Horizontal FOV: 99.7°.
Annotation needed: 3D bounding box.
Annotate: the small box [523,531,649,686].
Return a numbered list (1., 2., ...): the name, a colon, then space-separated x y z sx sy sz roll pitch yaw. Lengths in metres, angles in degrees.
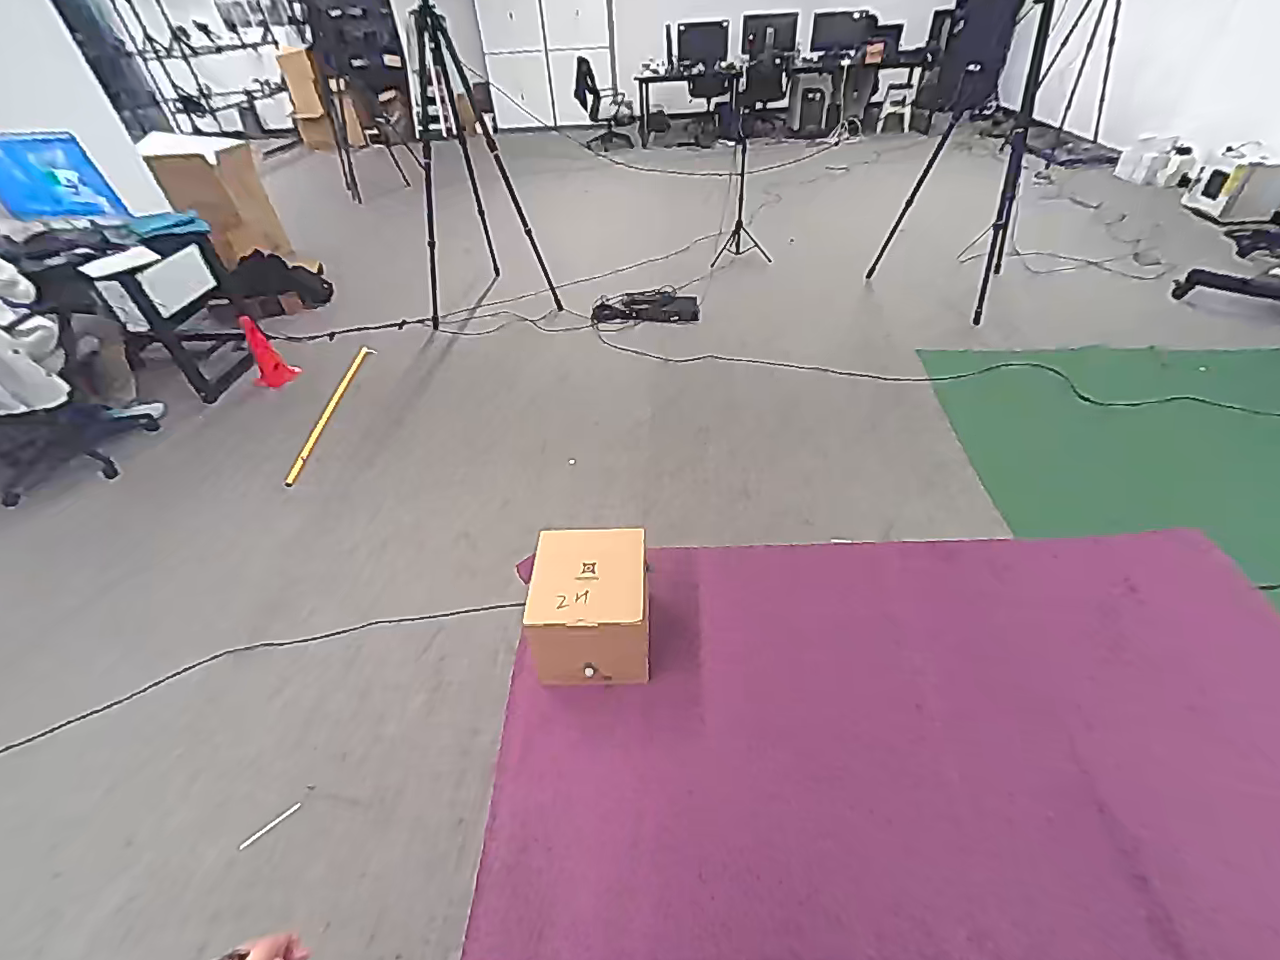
1. small box: -0.073 0.198 0.844 0.168 0.176 0.179 -2 42 3
